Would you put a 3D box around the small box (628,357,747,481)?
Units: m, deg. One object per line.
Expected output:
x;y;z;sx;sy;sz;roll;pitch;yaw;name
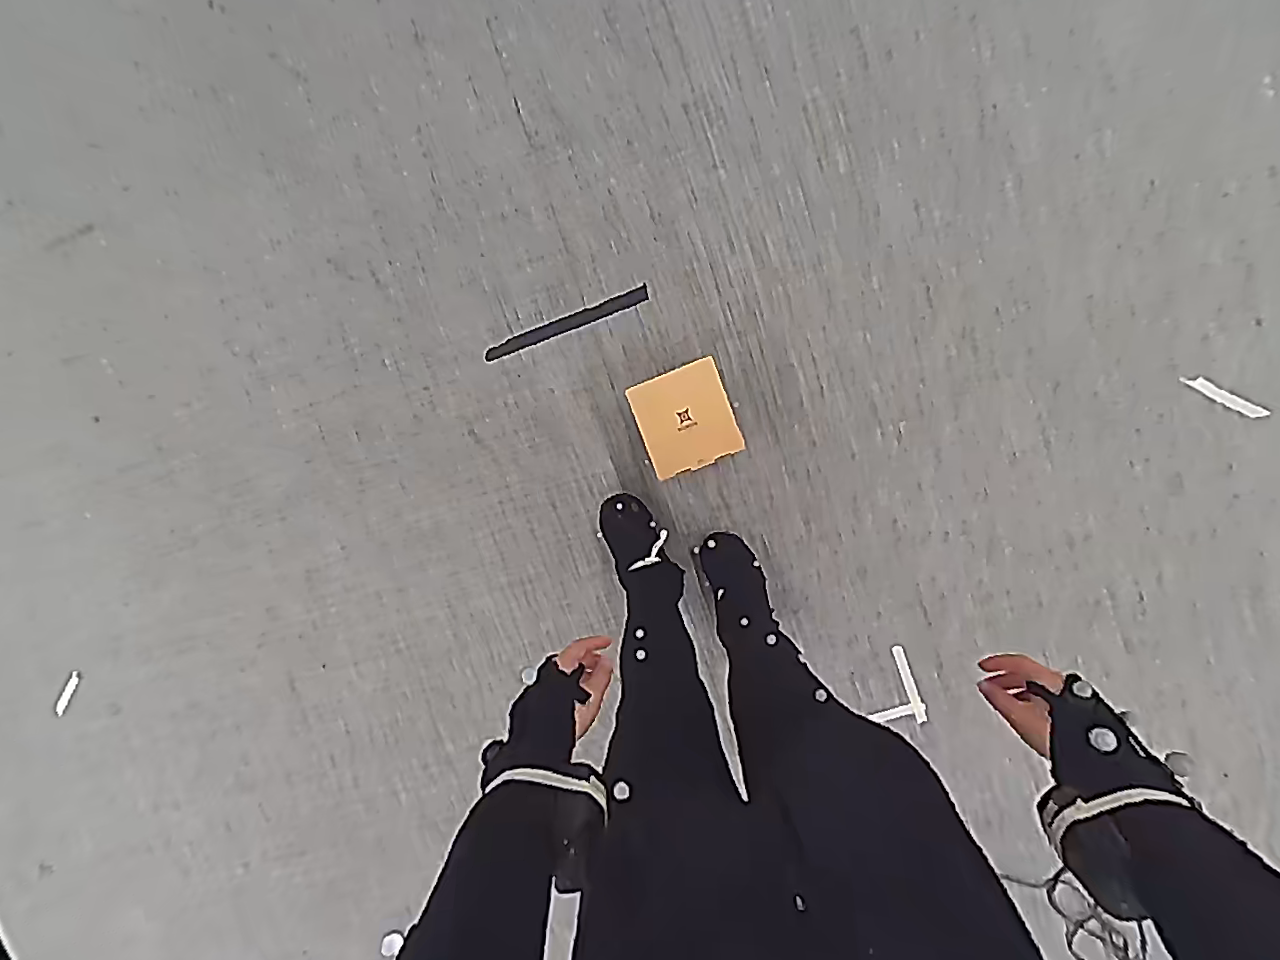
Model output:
0.088;-0.113;1.025;0.168;0.176;0.179;-21;95;7;small box
